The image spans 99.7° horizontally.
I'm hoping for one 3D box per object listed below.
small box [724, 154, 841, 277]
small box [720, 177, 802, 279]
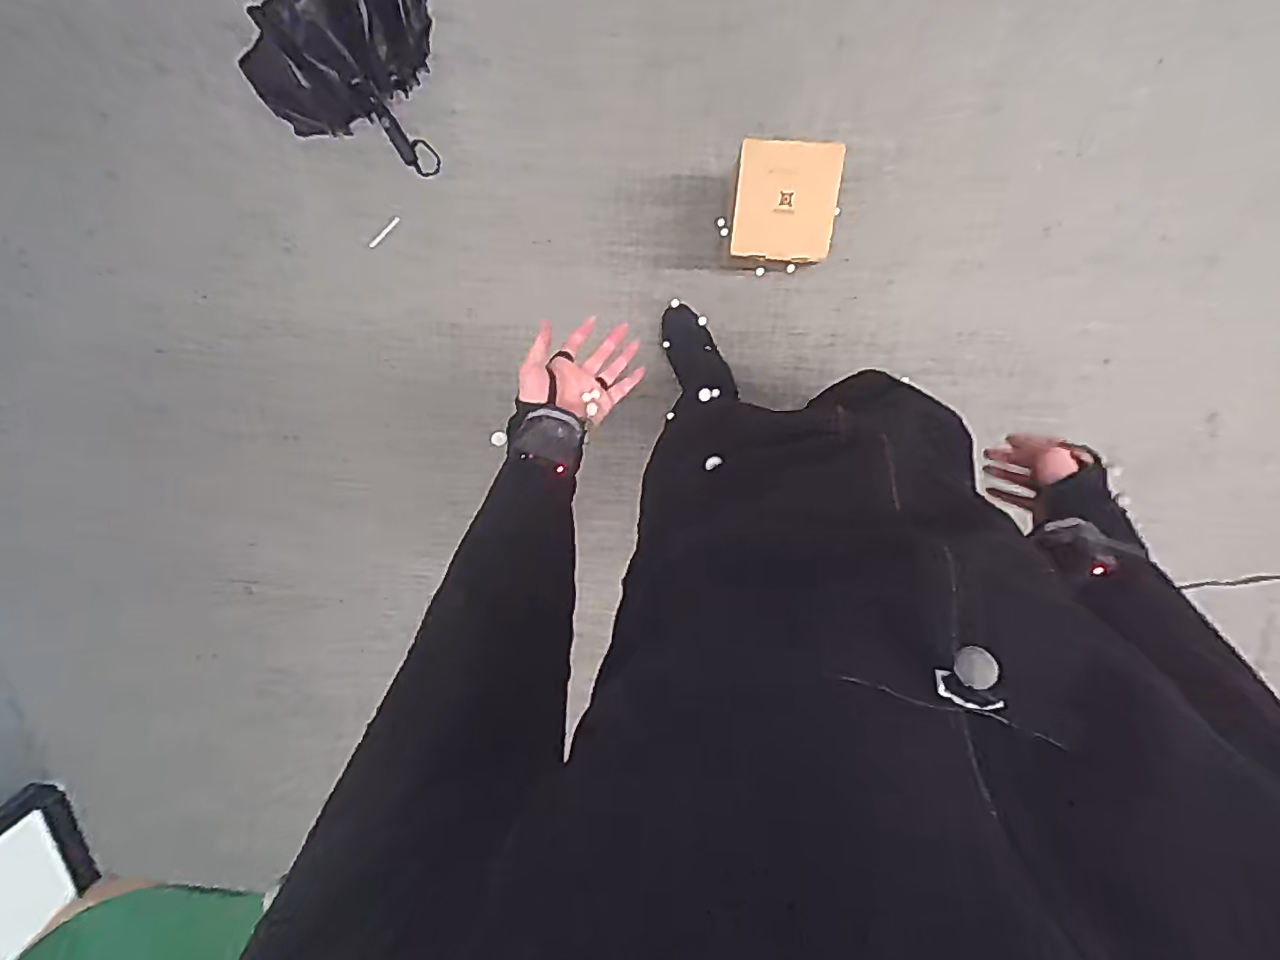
[{"bbox_3d":[0.245,-0.465,0.974,0.168,0.176,0.179,4,107,3],"label":"small box"},{"bbox_3d":[0.259,-0.517,1.128,0.168,0.176,0.179,5,109,4],"label":"small box"}]
